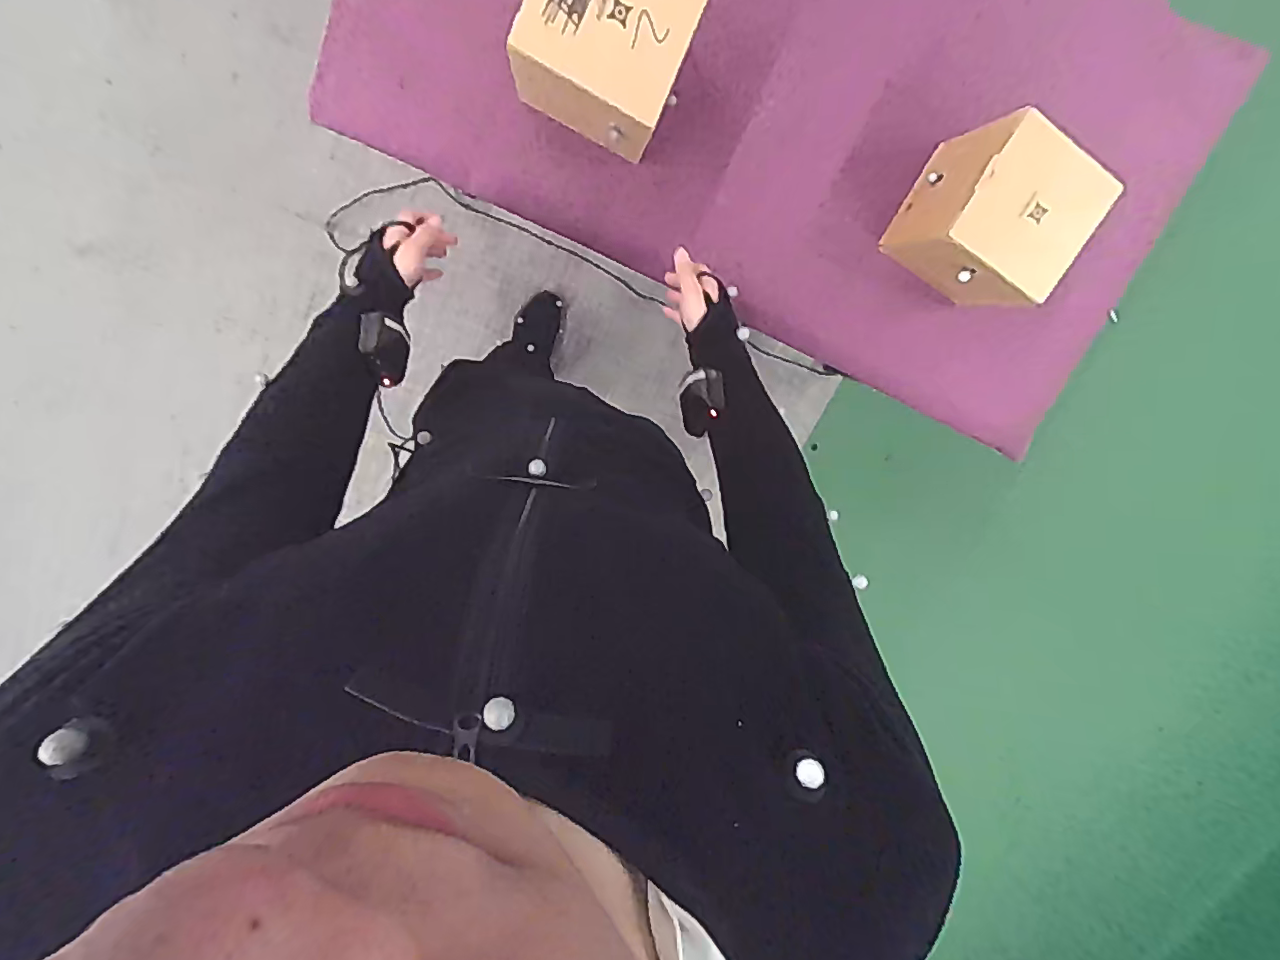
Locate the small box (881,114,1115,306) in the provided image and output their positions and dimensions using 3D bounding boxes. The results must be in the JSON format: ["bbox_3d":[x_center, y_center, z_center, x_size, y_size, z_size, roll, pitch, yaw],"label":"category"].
[{"bbox_3d":[0.489,-0.366,0.765,0.179,0.176,0.168,27,103,-14],"label":"small box"}]
